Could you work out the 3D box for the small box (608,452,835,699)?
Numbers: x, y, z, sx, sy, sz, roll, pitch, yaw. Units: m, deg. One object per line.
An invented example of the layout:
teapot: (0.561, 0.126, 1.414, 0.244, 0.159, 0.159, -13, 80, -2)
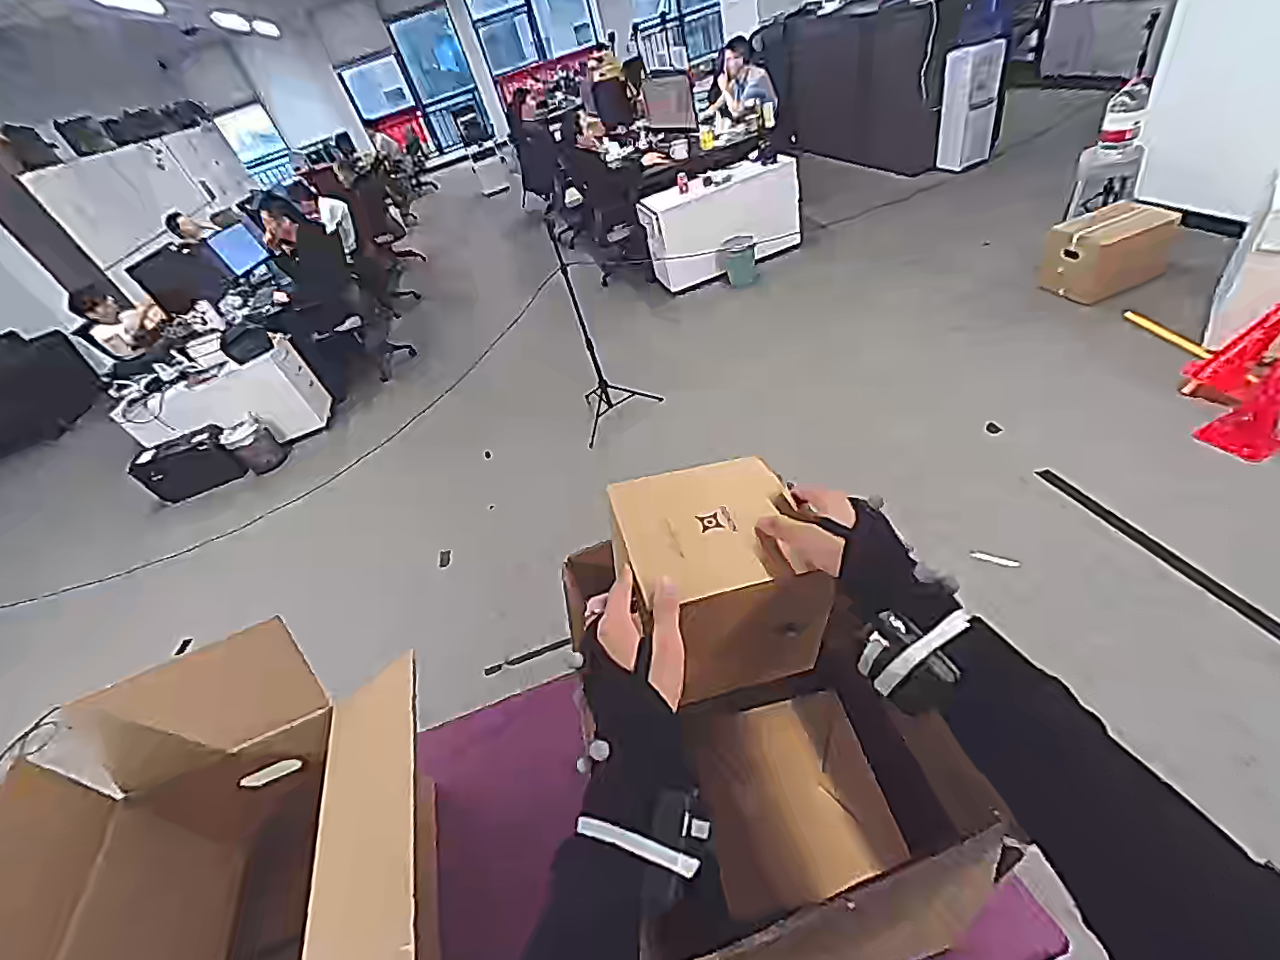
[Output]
small box: (0.072, 0.098, 0.564, 0.179, 0.176, 0.168, -12, 40, -8)
